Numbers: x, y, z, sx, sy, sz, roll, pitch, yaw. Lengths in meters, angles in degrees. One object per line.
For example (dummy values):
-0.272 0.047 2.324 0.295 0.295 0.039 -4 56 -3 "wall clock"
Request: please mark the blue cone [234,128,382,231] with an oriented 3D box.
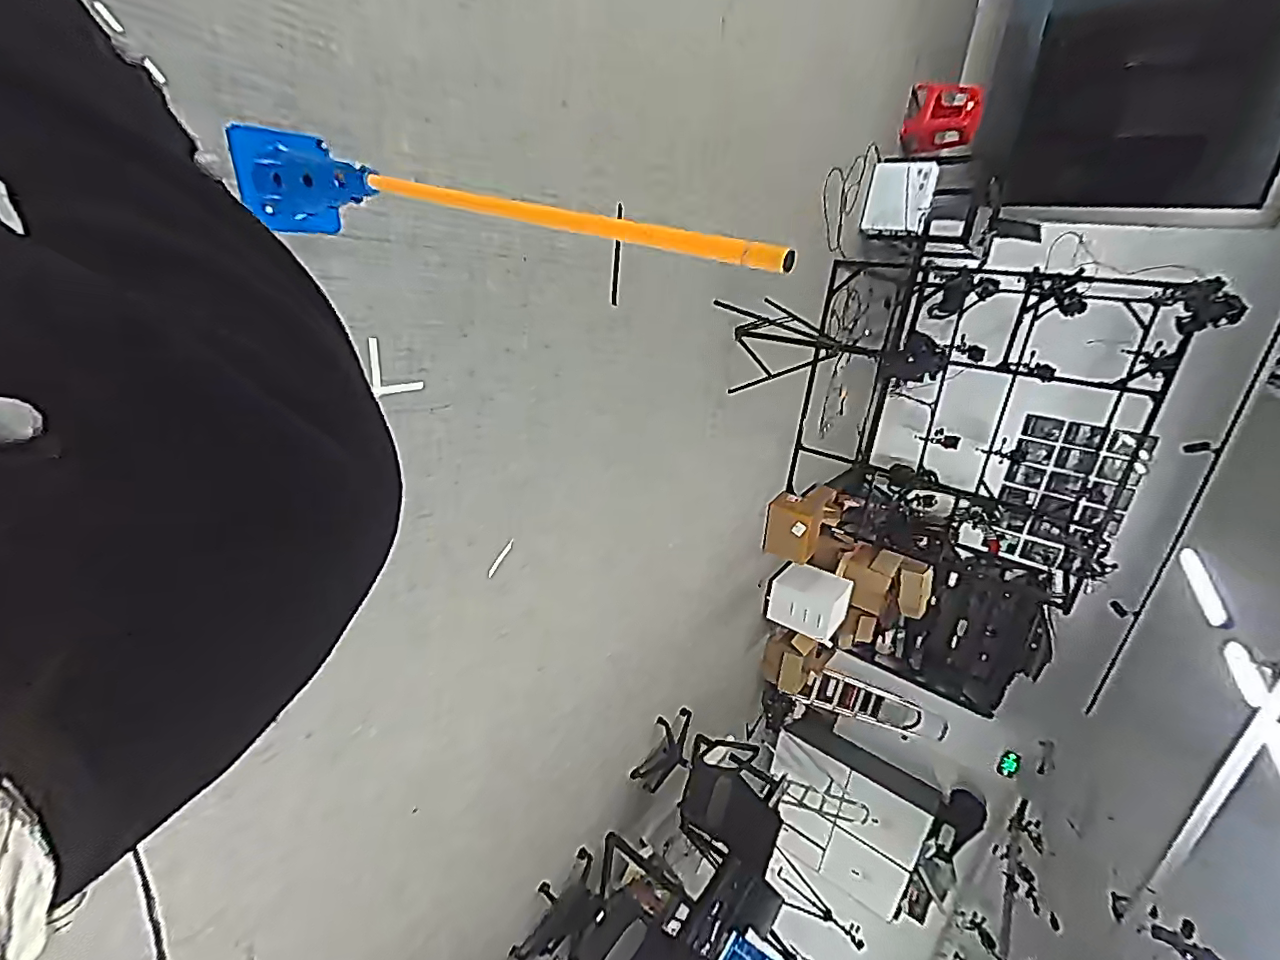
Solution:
-0.642 -0.614 1.109 0.193 0.380 0.192 -25 125 -48 "blue cone"
